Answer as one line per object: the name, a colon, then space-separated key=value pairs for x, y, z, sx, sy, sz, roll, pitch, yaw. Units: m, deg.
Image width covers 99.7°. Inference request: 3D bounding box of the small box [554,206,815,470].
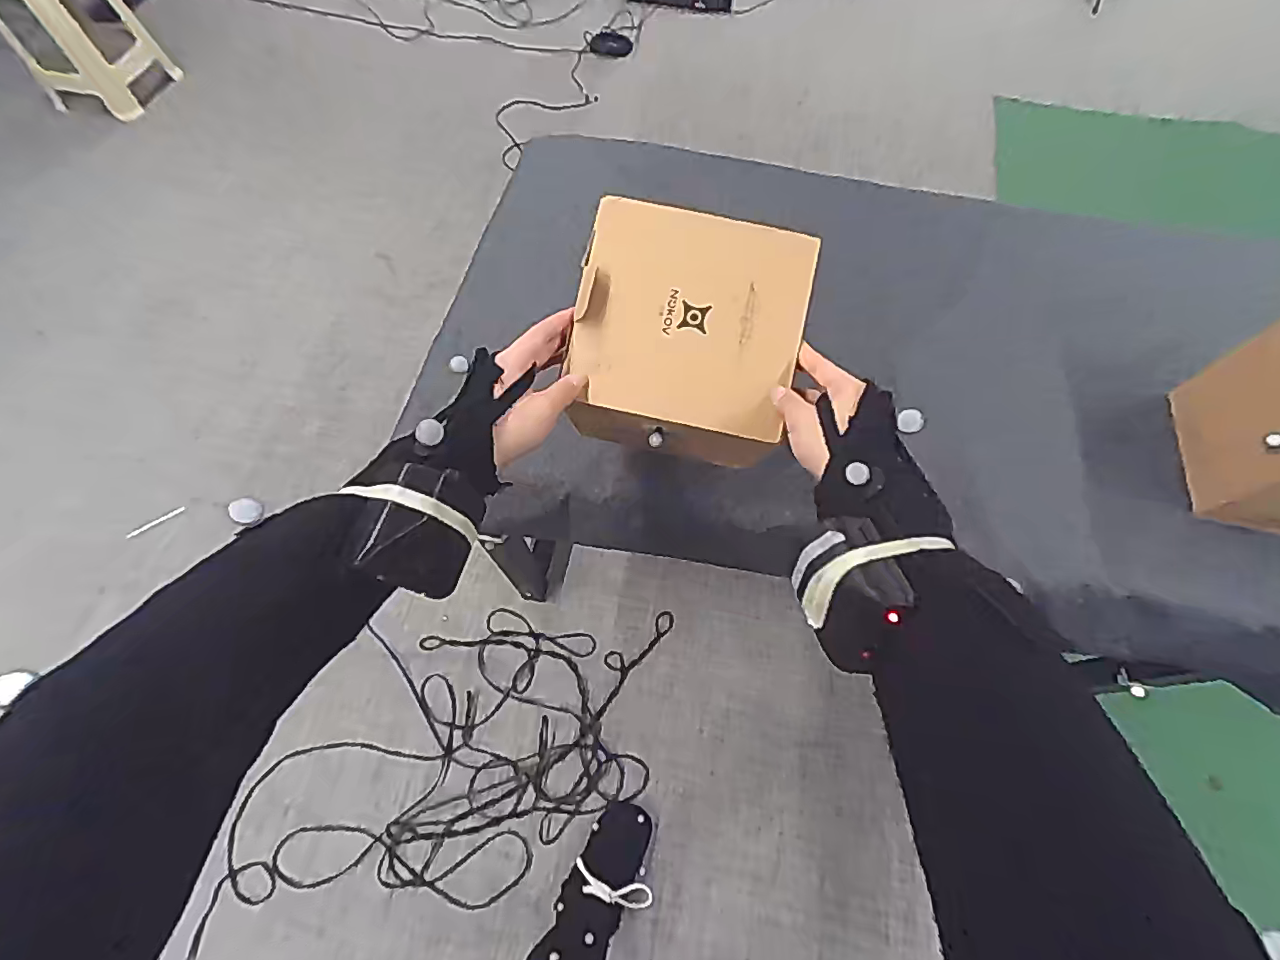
small box: x=0.035 y=-0.111 z=0.493 sx=0.179 sy=0.176 sz=0.168 roll=12 pitch=84 yaw=0
